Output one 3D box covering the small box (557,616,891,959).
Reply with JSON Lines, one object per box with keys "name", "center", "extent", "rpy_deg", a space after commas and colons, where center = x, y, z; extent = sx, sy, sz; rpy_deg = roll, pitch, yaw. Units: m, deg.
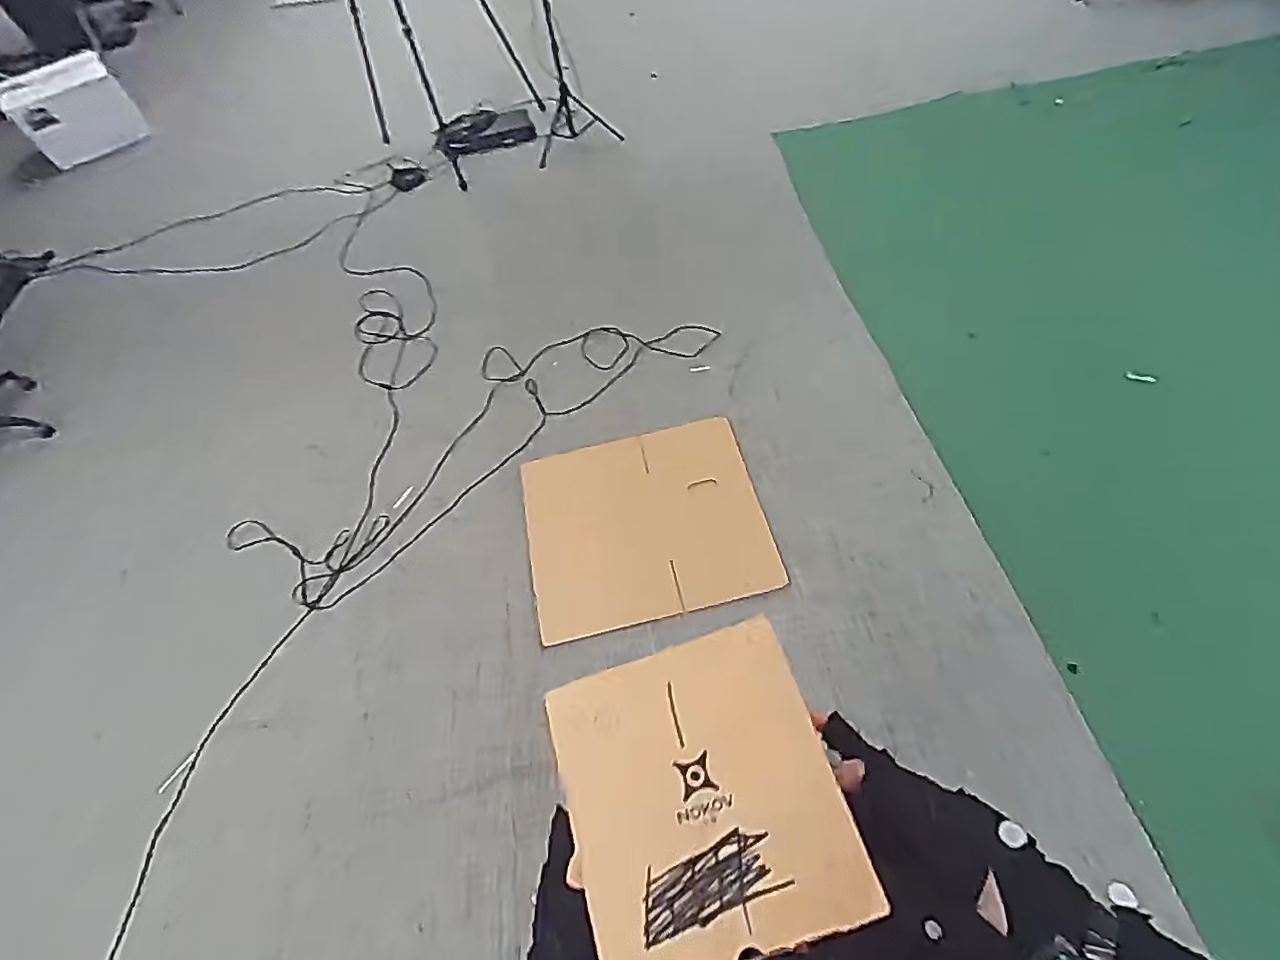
{"name": "small box", "center": [0.053, 0.223, 0.408], "extent": [0.168, 0.176, 0.179], "rpy_deg": [-18, 64, 0]}
